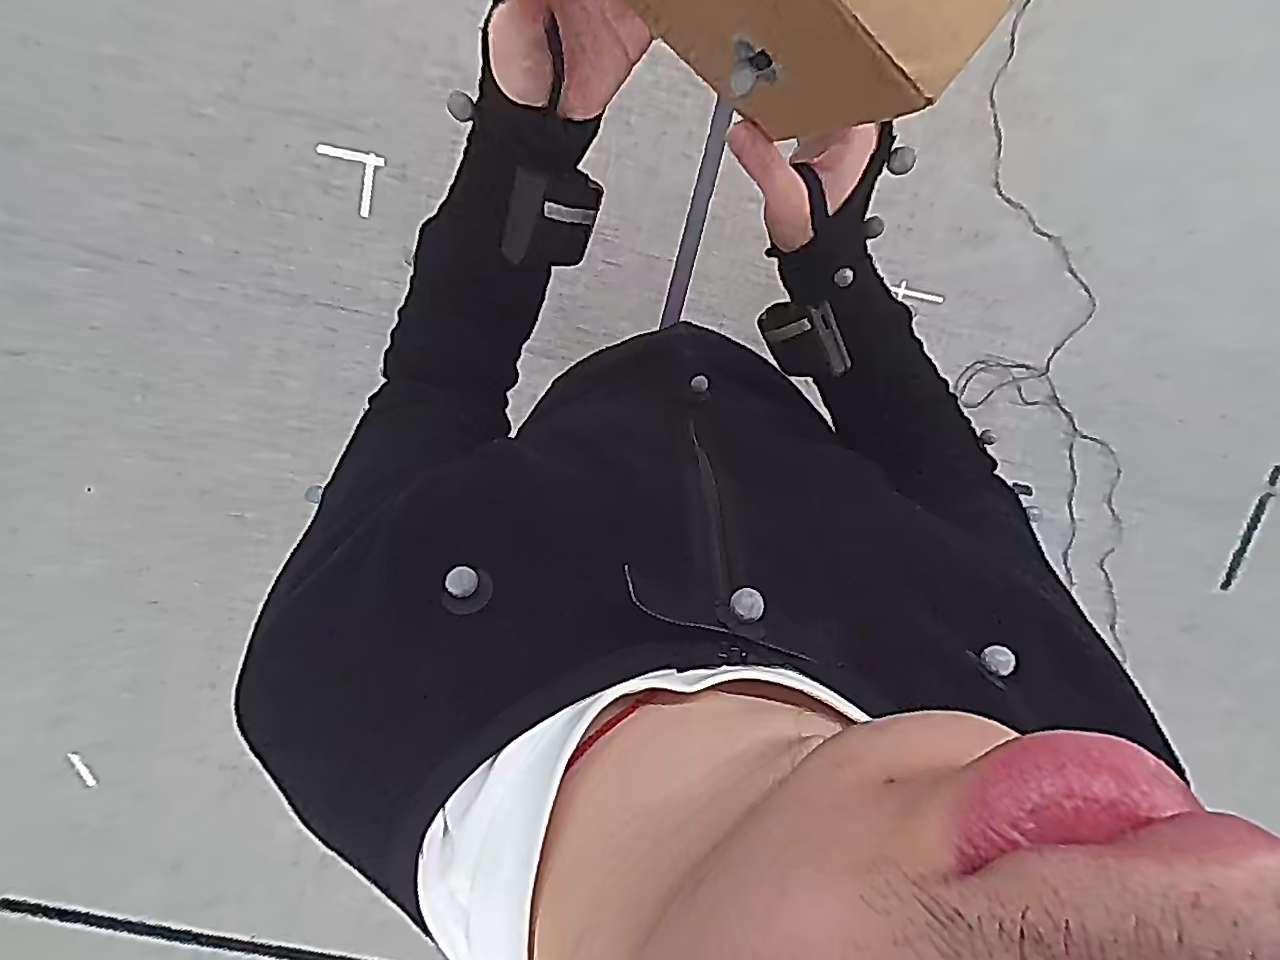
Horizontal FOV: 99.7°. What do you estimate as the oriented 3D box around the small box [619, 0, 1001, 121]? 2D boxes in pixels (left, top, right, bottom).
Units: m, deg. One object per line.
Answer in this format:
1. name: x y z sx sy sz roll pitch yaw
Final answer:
1. small box: 0.061 -0.261 0.189 0.179 0.176 0.168 30 111 -20
